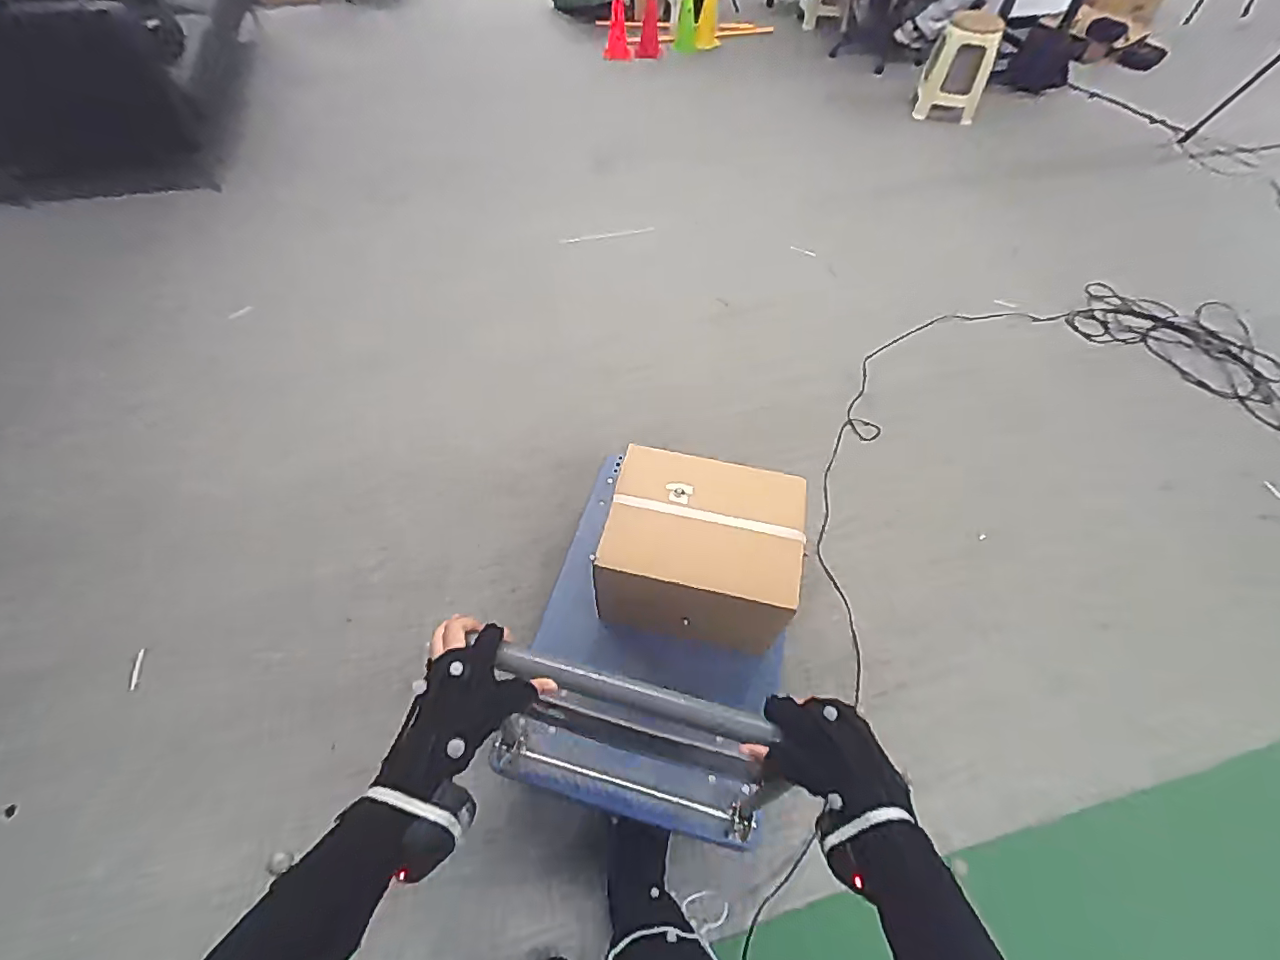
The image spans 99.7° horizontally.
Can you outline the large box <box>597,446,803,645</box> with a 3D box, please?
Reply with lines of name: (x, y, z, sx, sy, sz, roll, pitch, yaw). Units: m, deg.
large box: (0.139, 0.159, 1.258, 0.408, 0.320, 0.320, 10, 56, 7)
